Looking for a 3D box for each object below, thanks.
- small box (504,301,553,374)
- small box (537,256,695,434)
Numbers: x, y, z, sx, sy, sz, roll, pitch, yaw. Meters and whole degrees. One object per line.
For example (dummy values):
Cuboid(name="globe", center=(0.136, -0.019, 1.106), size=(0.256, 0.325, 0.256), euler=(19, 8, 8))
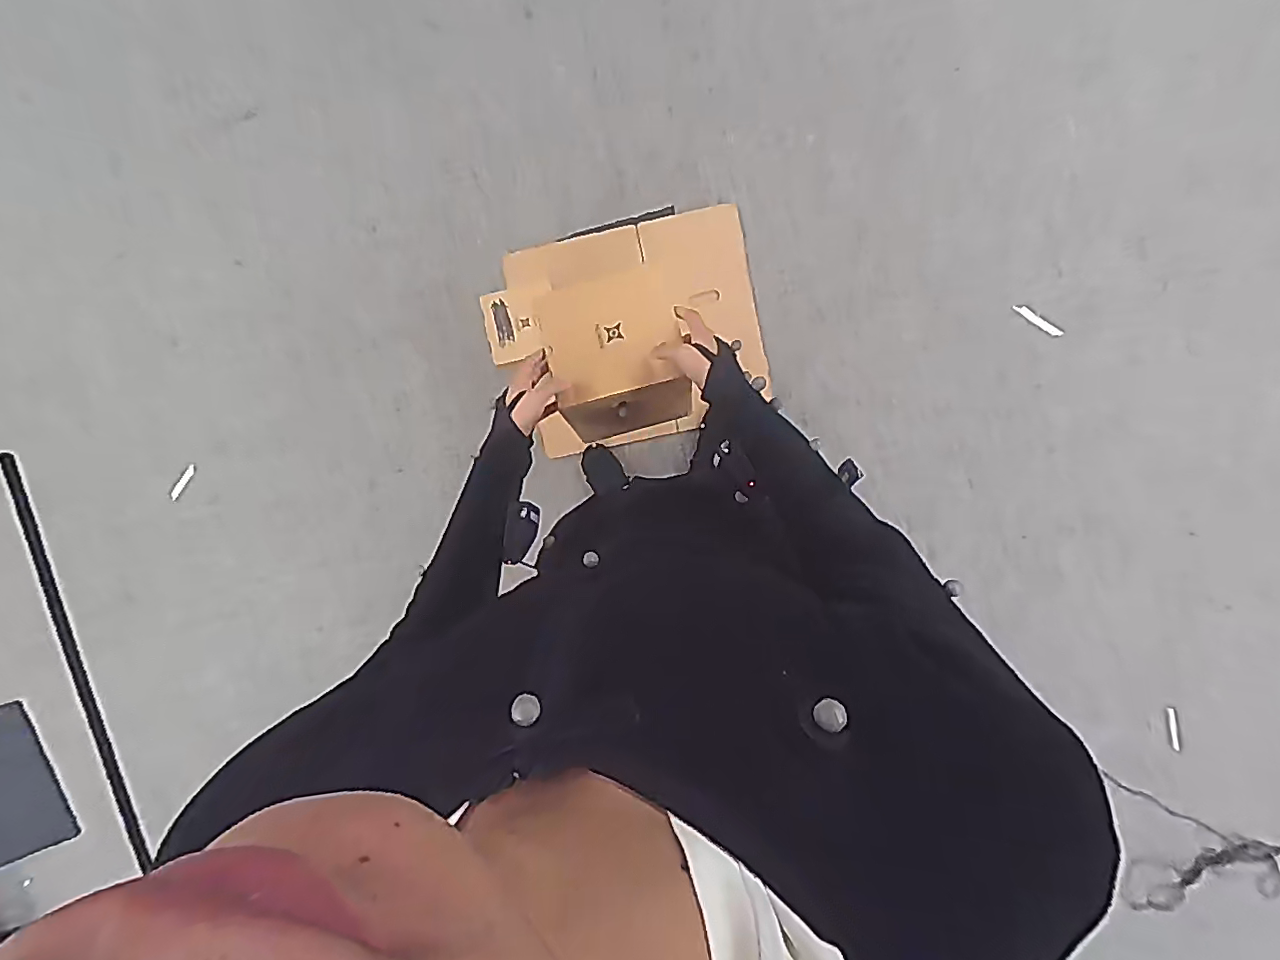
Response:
Cuboid(name="small box", center=(-0.257, -0.399, 1.506), size=(0.179, 0.176, 0.168), euler=(-12, 95, 4))
Cuboid(name="small box", center=(-0.026, -0.178, 0.765), size=(0.179, 0.176, 0.168), euler=(-15, 79, 4))
